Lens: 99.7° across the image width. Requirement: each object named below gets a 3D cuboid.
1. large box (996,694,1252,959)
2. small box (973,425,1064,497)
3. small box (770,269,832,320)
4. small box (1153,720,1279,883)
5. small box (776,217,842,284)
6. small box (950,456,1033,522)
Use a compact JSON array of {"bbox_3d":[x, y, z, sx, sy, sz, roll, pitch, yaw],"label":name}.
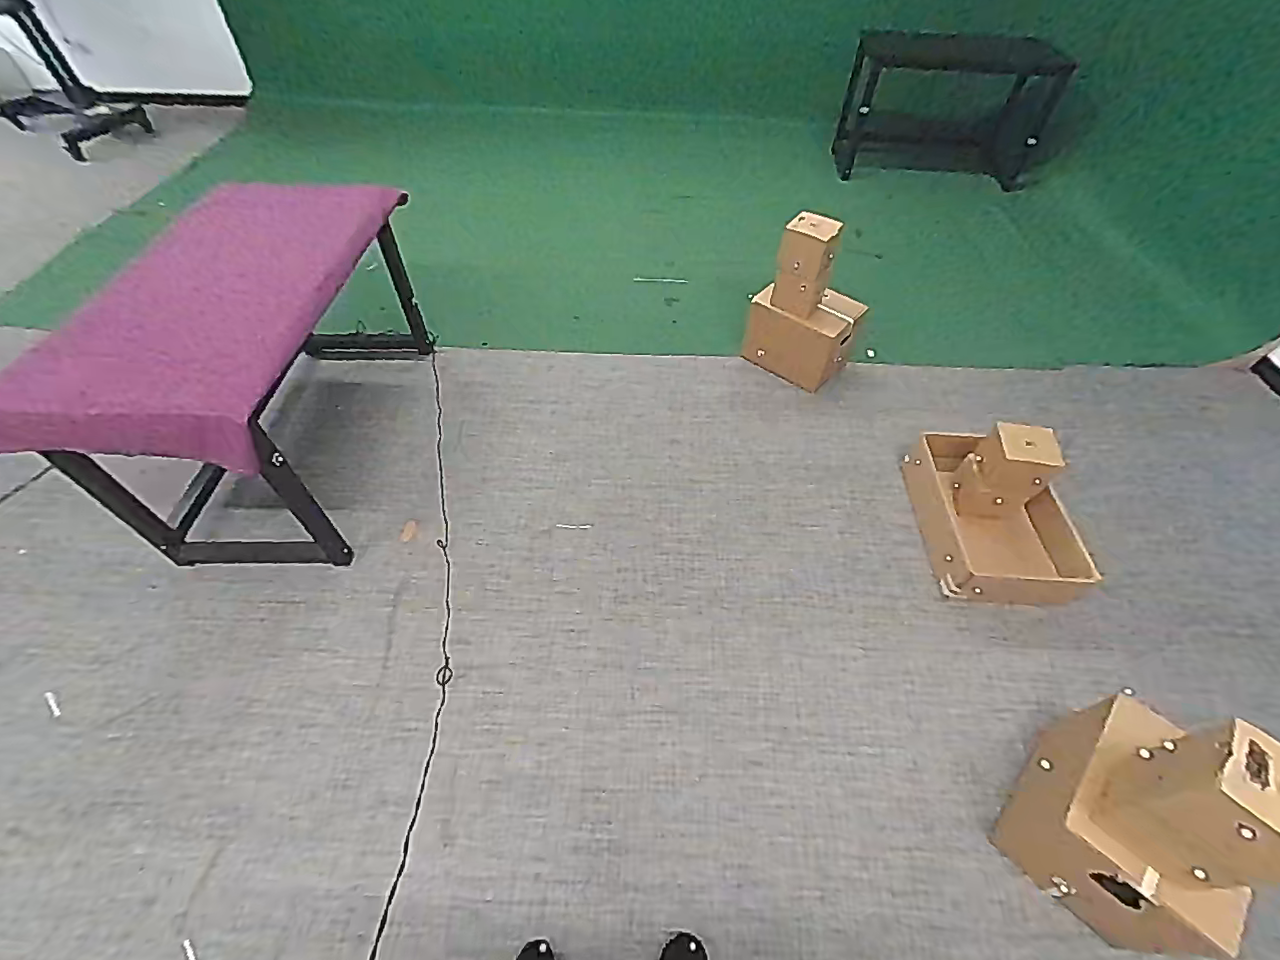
[{"bbox_3d":[1.138,0.809,1.279,0.320,0.320,0.408,38,58,25],"label":"large box"},{"bbox_3d":[1.258,-0.060,1.810,0.179,0.176,0.168,9,54,7],"label":"small box"},{"bbox_3d":[0.672,-0.799,2.273,0.179,0.176,0.168,29,56,20],"label":"small box"},{"bbox_3d":[1.068,0.566,0.947,0.168,0.176,0.179,-36,60,-27],"label":"small box"},{"bbox_3d":[0.667,-0.908,2.149,0.179,0.176,0.168,31,56,20],"label":"small box"},{"bbox_3d":[1.252,0.037,1.941,0.179,0.176,0.168,5,54,5],"label":"small box"}]
